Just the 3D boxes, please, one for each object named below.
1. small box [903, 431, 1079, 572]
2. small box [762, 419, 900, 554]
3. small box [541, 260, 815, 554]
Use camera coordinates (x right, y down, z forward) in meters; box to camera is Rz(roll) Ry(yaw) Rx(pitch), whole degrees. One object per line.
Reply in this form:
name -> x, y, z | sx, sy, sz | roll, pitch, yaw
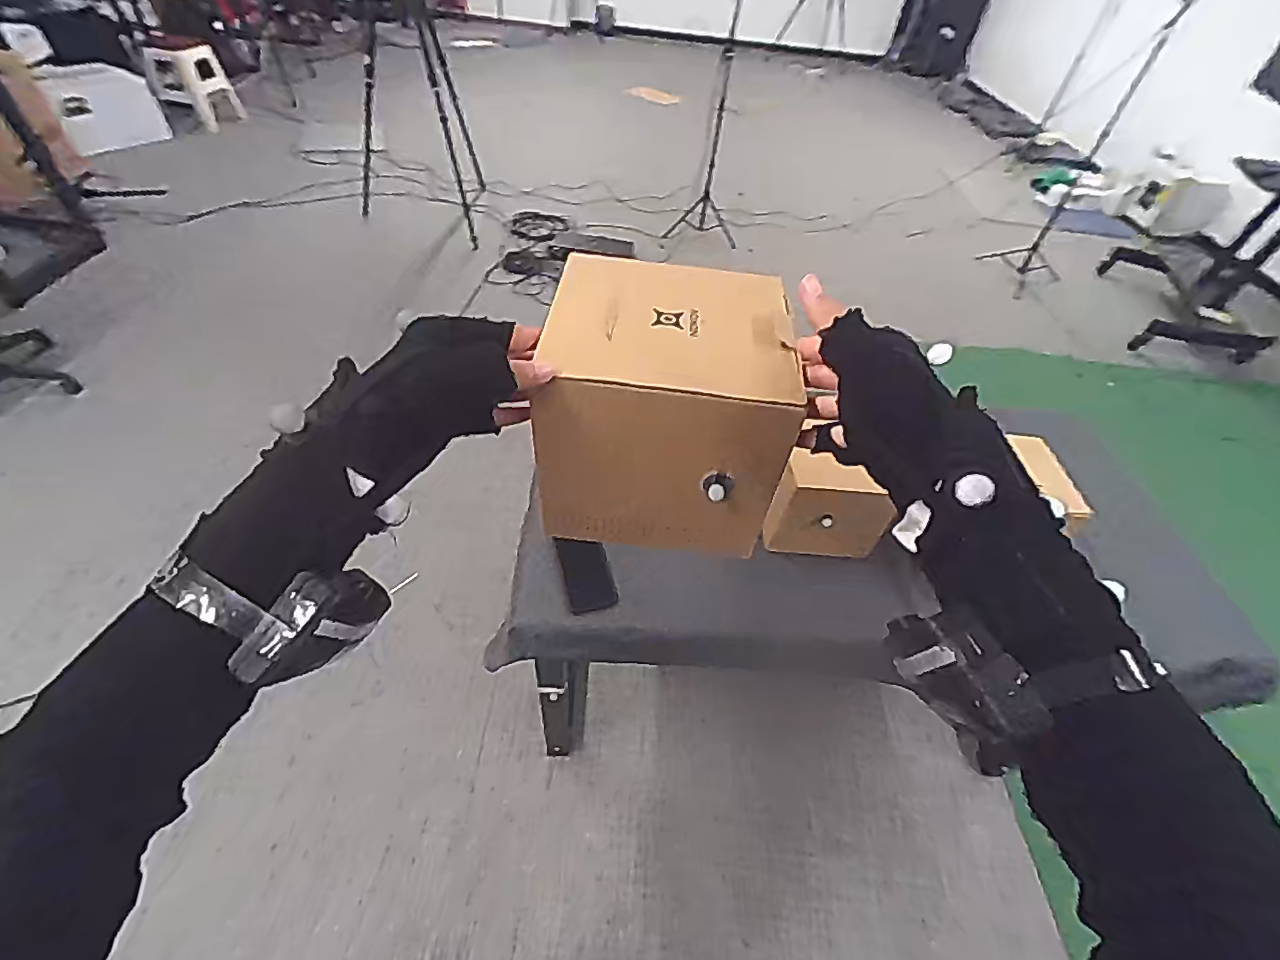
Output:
small box -> 0.590, 0.041, 0.939 | 0.168, 0.176, 0.179 | 6, 47, -2
small box -> 0.306, 0.013, 0.926 | 0.179, 0.176, 0.168 | 4, 48, -3
small box -> 0.025, -0.056, 0.449 | 0.179, 0.176, 0.168 | 6, 47, 0
